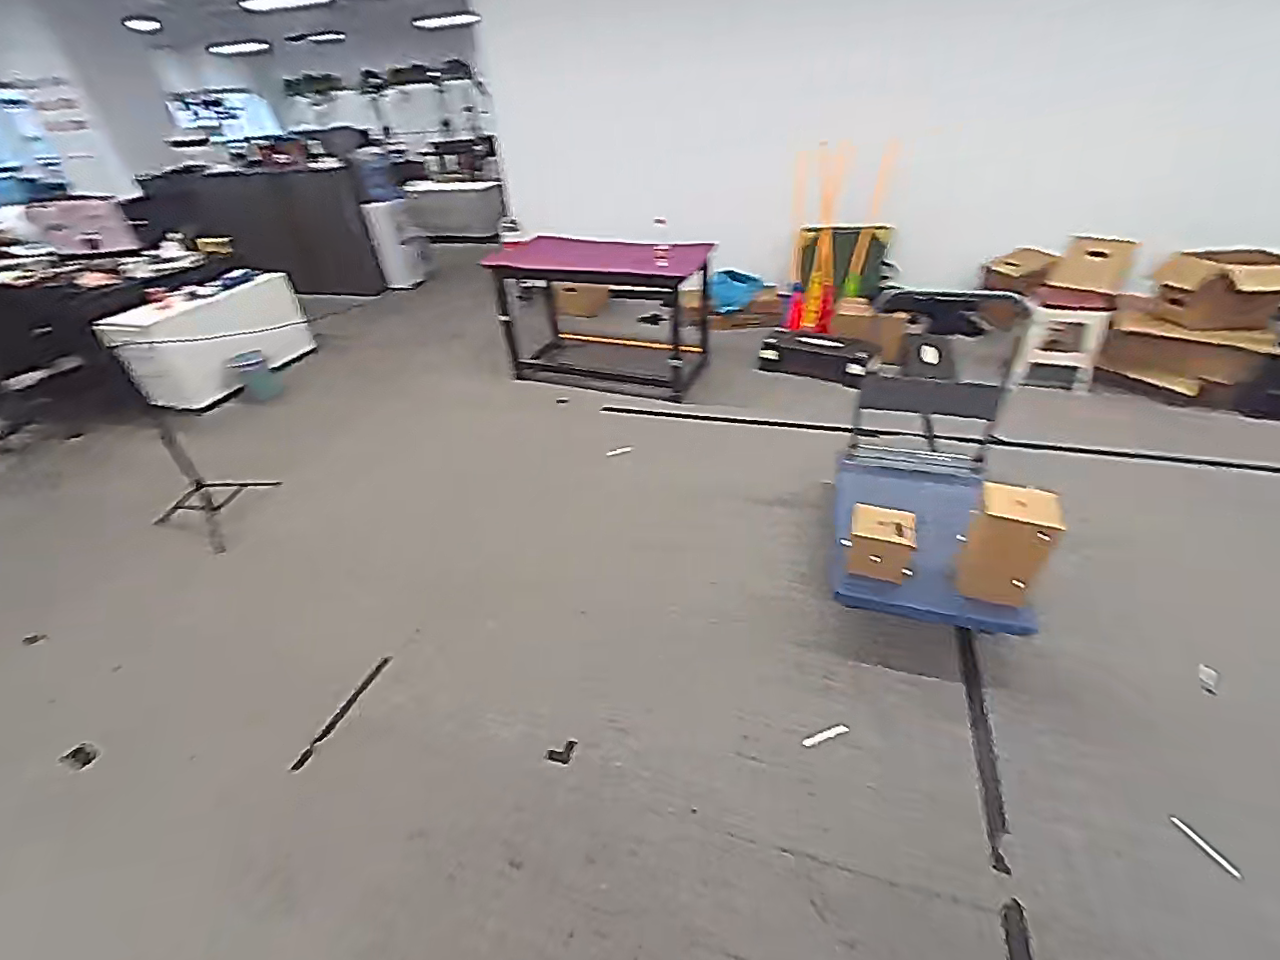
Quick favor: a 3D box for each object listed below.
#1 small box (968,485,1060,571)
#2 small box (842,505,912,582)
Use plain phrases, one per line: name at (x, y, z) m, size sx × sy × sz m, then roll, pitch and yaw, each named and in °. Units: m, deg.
small box at (1.067, 0.139, 1.563) m, size 0.179 × 0.176 × 0.168 m, roll 13°, pitch 39°, yaw 20°
small box at (0.774, 0.211, 1.768) m, size 0.179 × 0.176 × 0.168 m, roll 10°, pitch 38°, yaw 20°
